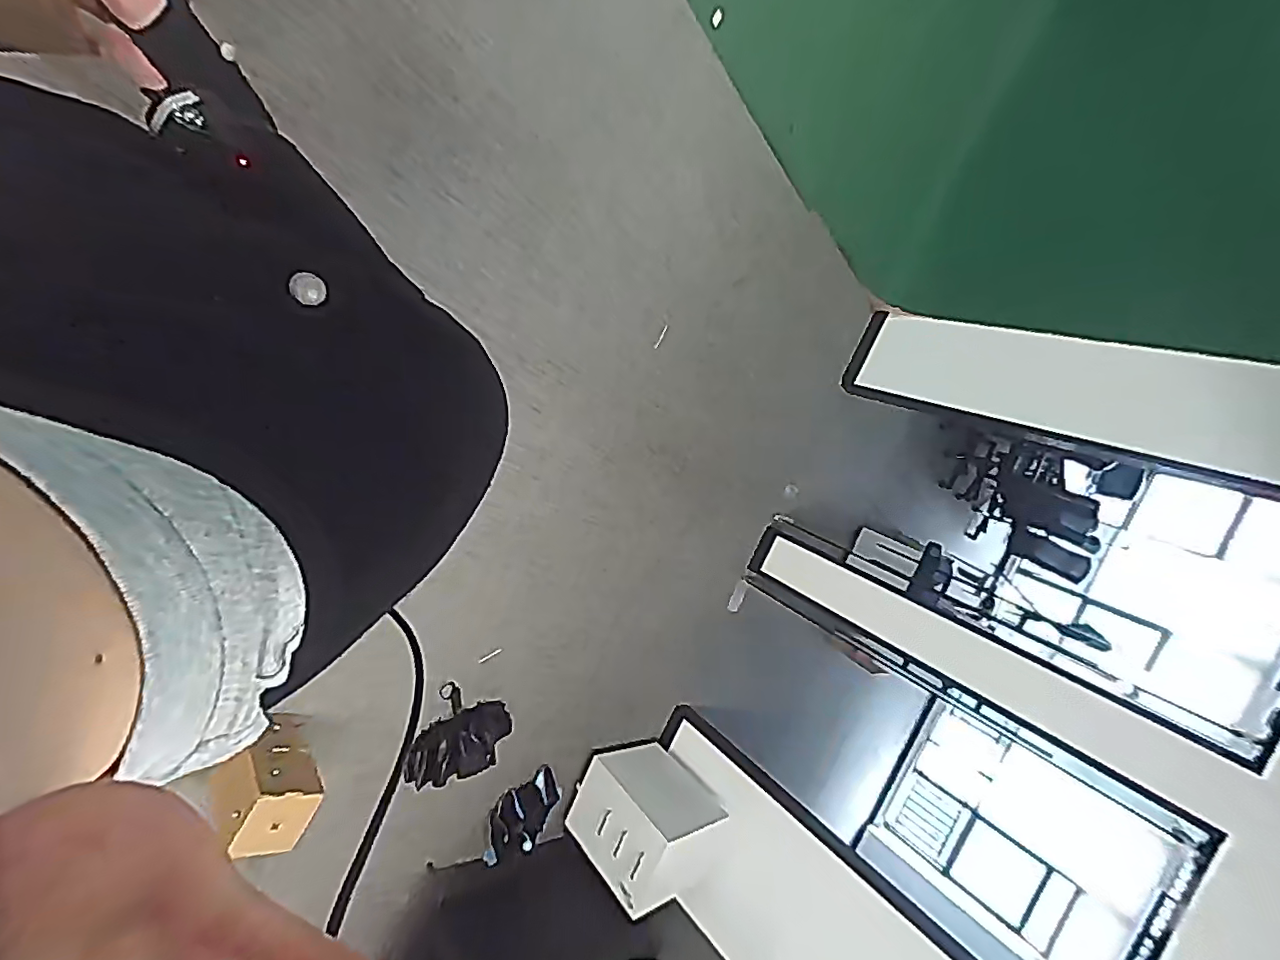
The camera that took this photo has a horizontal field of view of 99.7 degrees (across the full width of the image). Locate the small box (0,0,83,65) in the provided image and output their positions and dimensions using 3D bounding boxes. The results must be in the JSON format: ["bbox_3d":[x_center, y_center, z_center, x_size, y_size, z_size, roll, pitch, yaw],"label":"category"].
[{"bbox_3d":[-0.497,-0.387,0.323,0.168,0.176,0.179,-17,116,-27],"label":"small box"}]
